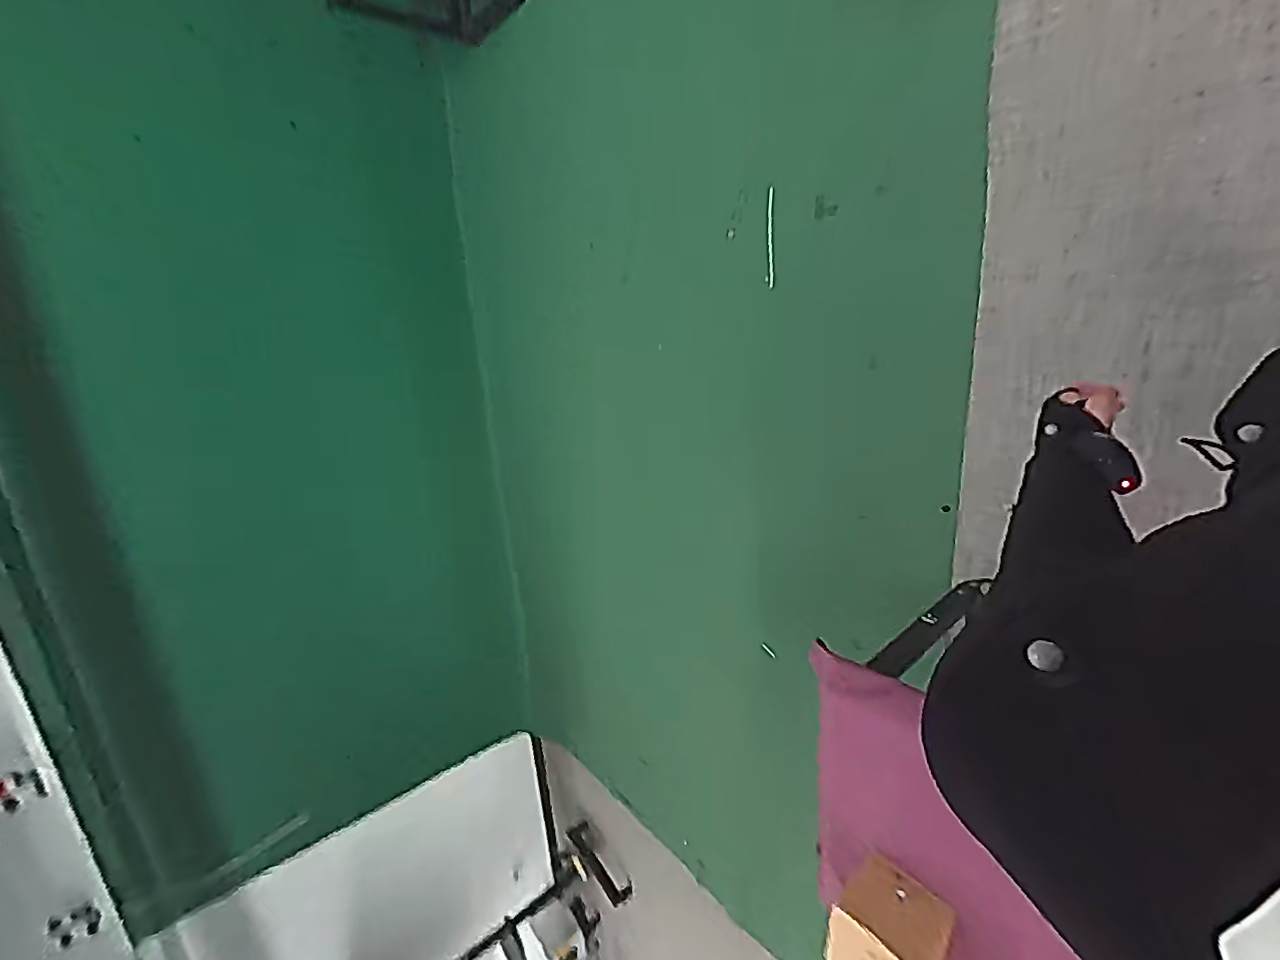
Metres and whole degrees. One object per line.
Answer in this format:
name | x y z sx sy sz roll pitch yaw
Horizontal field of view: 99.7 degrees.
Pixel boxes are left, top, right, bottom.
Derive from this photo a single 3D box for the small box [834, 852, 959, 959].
small box | 0.512 0.911 1.082 0.168 0.176 0.179 19 117 45
